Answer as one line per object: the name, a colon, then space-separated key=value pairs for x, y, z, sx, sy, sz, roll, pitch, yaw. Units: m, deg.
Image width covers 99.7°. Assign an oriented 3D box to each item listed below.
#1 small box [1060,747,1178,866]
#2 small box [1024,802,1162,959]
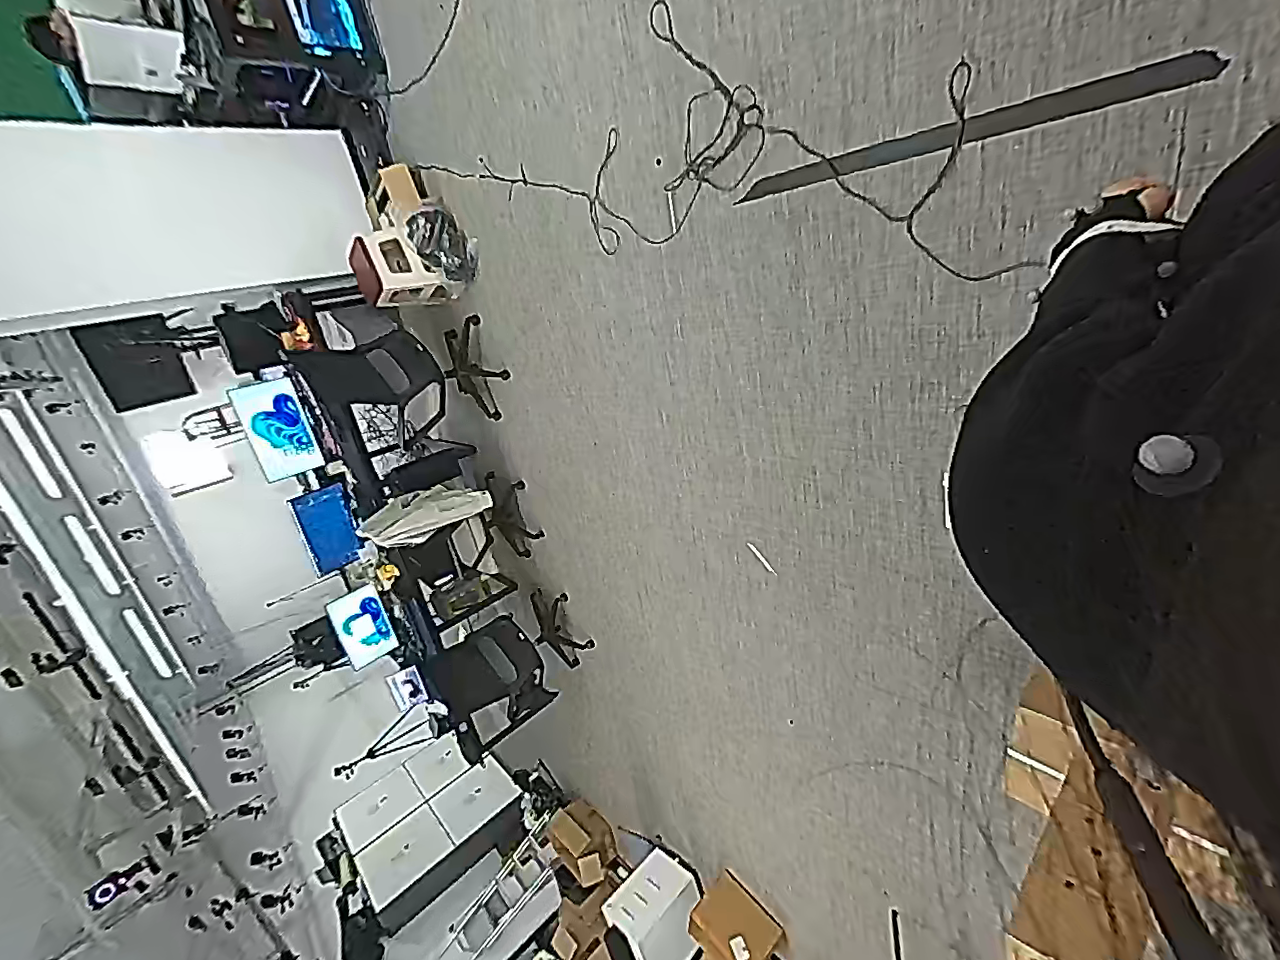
small box: x=0.994 y=0.709 z=1.138 sx=0.168 sy=0.176 sz=0.179 roll=20 pitch=127 yaw=44
small box: x=0.876 y=0.778 z=1.047 sx=0.168 sy=0.176 sz=0.179 roll=17 pitch=123 yaw=46
